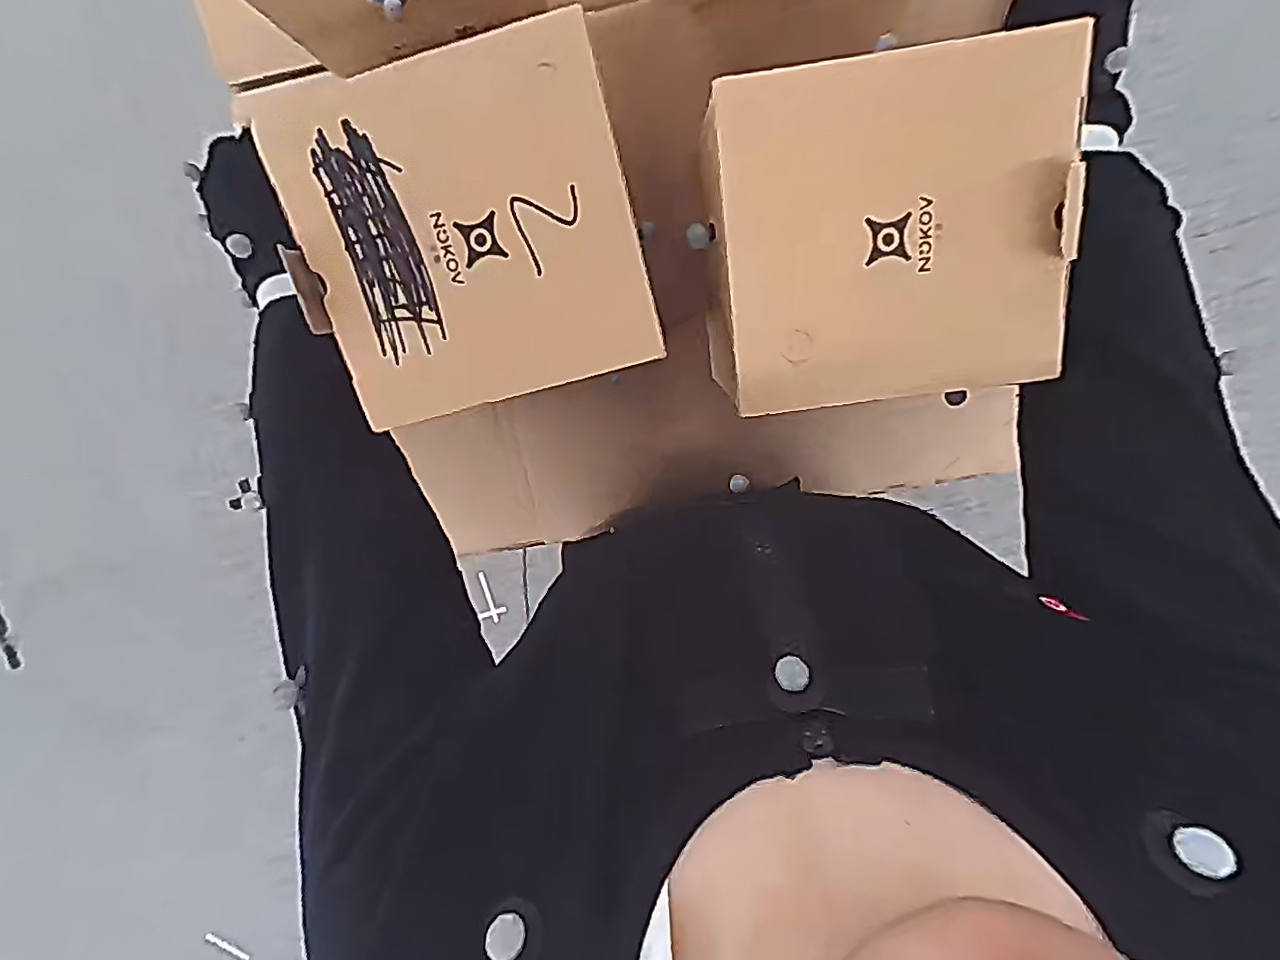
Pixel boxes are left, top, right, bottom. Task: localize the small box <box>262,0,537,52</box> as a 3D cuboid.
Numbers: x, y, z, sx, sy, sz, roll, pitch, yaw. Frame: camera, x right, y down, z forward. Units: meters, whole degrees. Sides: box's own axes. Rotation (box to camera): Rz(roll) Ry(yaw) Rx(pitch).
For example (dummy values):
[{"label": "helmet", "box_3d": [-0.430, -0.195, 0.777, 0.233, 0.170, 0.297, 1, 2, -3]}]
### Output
[{"label": "small box", "box_3d": [-0.166, -0.380, 0.299, 0.168, 0.176, 0.179, -11, 104, 4]}]
